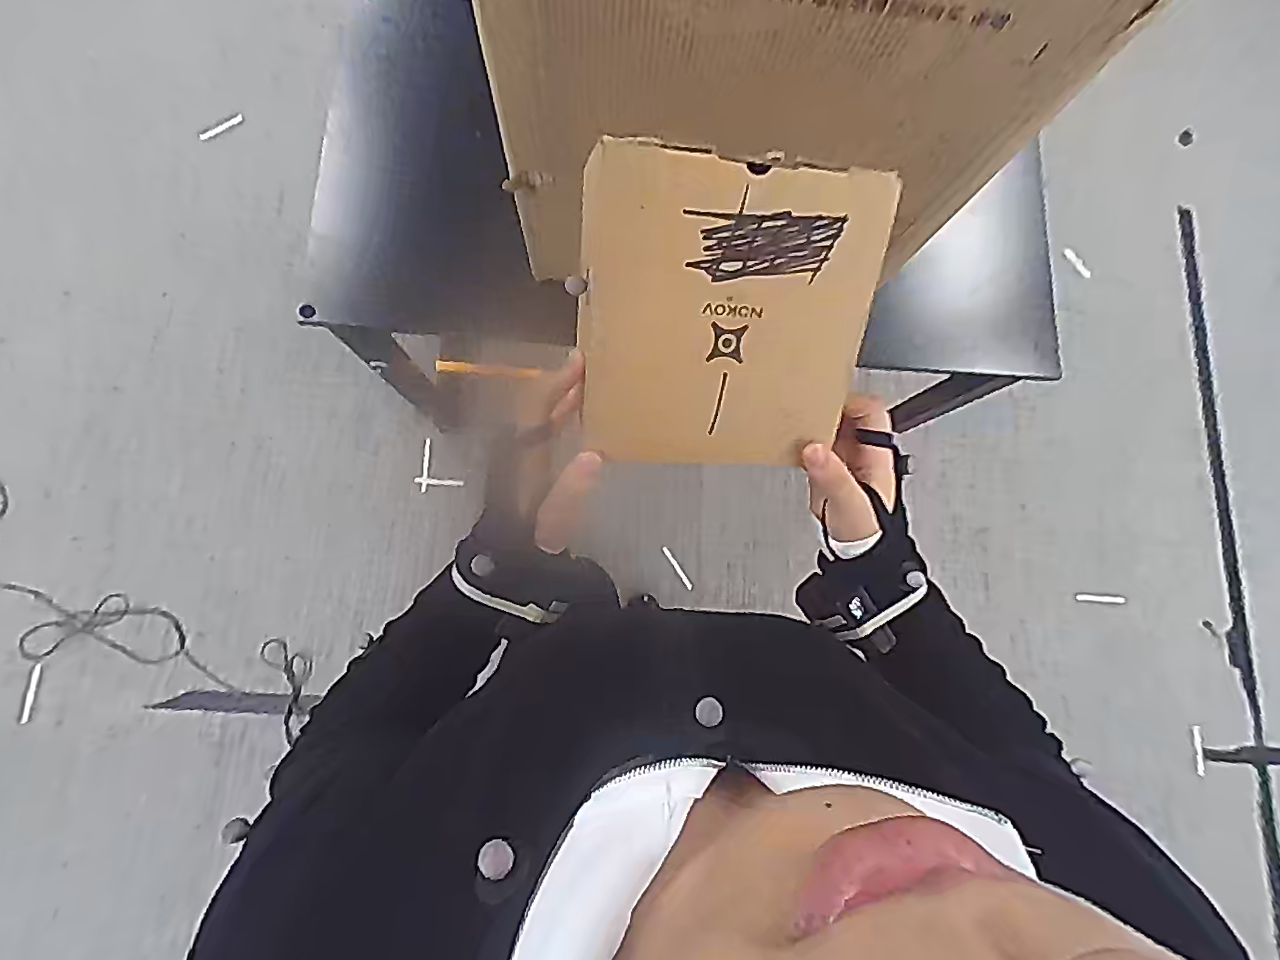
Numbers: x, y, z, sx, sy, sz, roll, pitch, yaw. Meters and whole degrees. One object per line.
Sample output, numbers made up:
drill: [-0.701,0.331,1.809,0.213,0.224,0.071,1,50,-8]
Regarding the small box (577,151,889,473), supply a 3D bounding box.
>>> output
small box: [0.042,-0.119,0.396,0.168,0.176,0.179,2,114,-10]
